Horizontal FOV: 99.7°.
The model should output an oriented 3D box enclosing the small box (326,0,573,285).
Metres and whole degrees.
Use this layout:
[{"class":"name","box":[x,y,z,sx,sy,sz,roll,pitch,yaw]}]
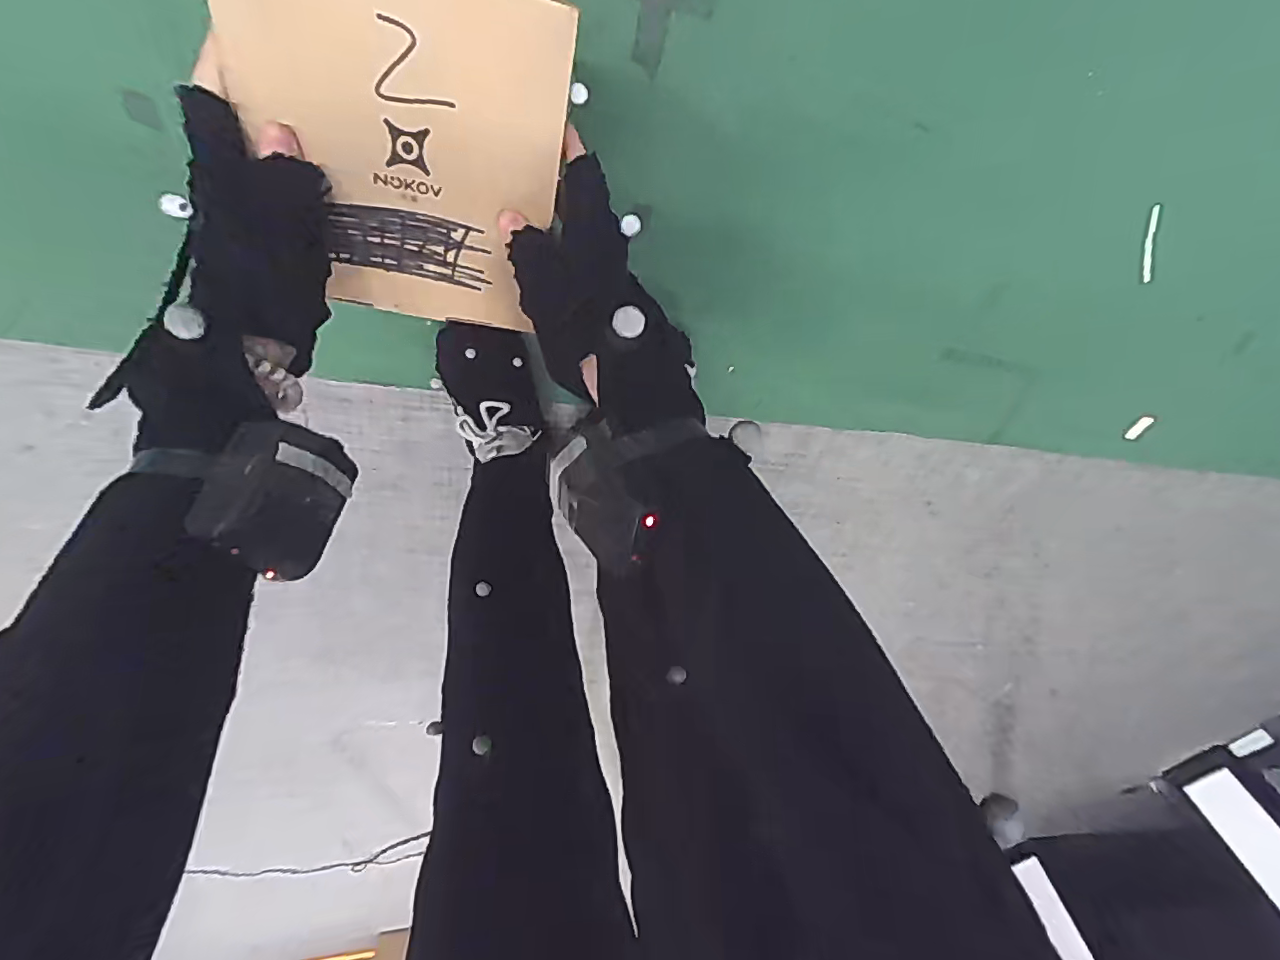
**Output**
[{"class":"small box","box":[-0.168,-0.310,0.502,0.179,0.176,0.168,10,128,-17]}]
